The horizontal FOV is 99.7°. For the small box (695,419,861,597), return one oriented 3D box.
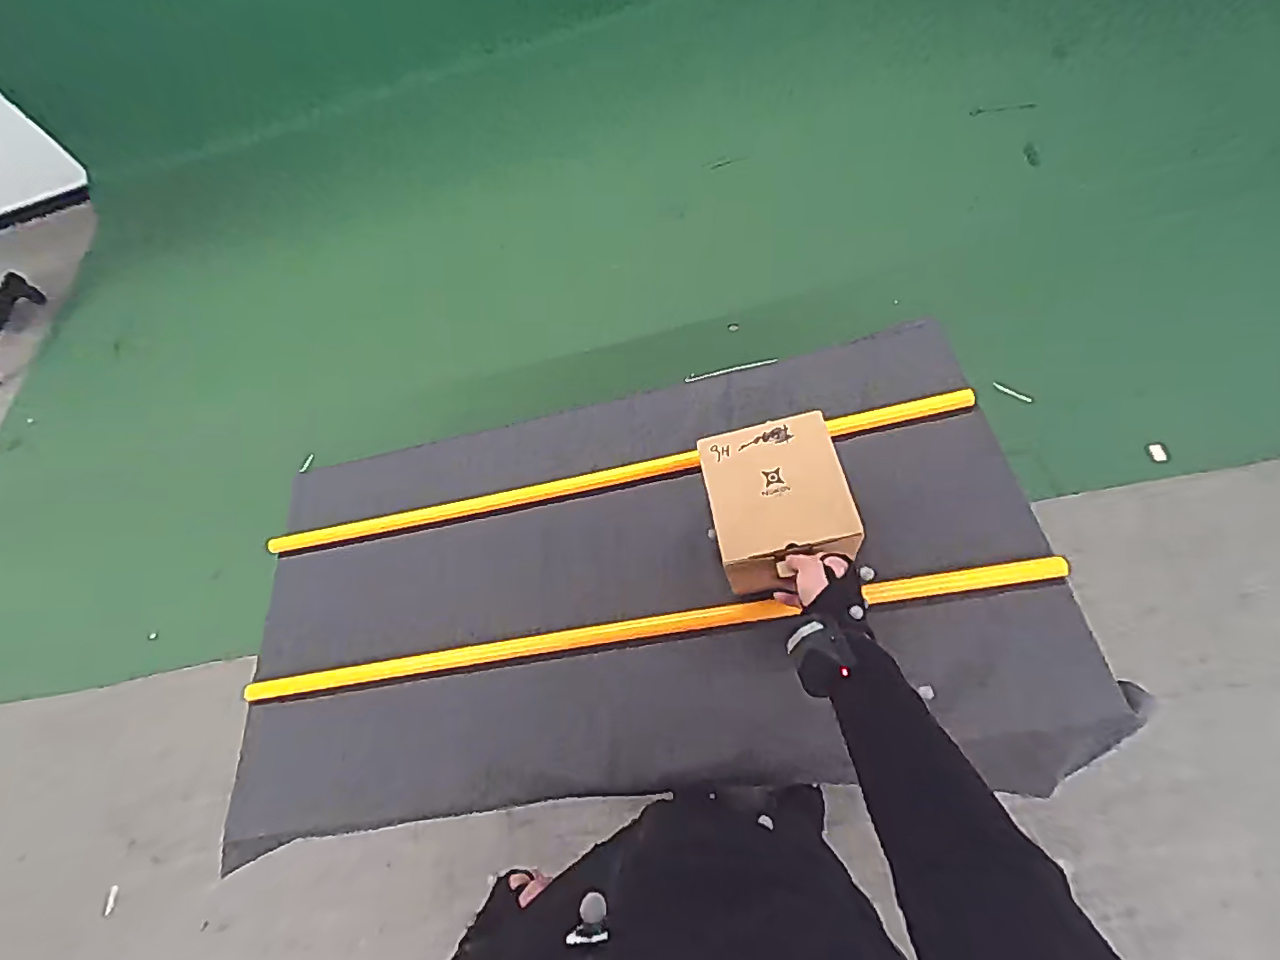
[{"bbox_3d":[0.187,0.050,0.738,0.168,0.176,0.179,-17,61,10],"label":"small box"}]
